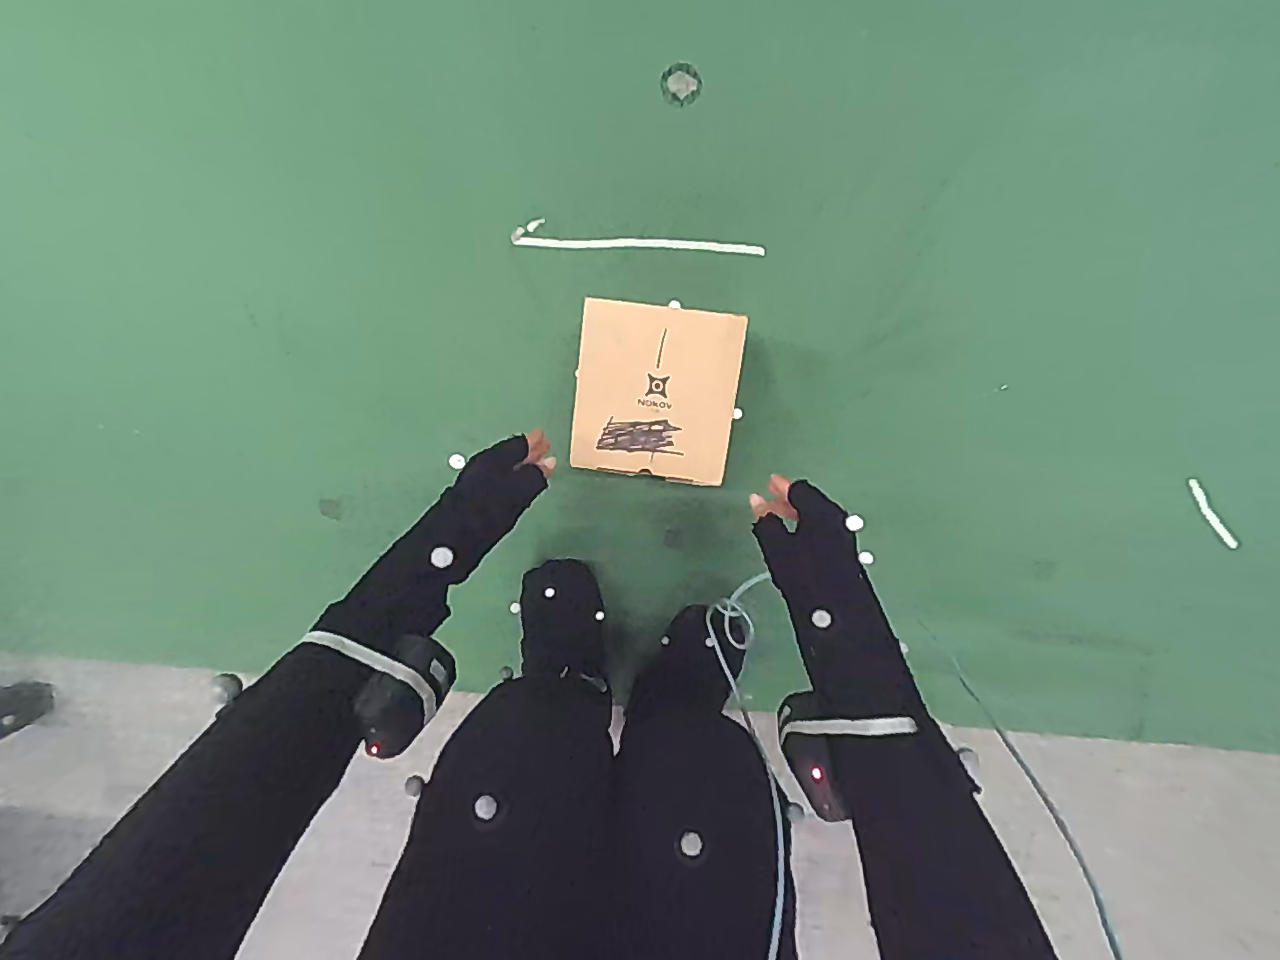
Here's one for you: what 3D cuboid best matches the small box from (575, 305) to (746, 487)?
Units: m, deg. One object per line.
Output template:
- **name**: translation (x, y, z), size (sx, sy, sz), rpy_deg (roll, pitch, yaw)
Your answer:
- **small box**: translation (0.023, -0.103, 0.630), size (0.168, 0.176, 0.179), rpy_deg (5, 104, 3)
